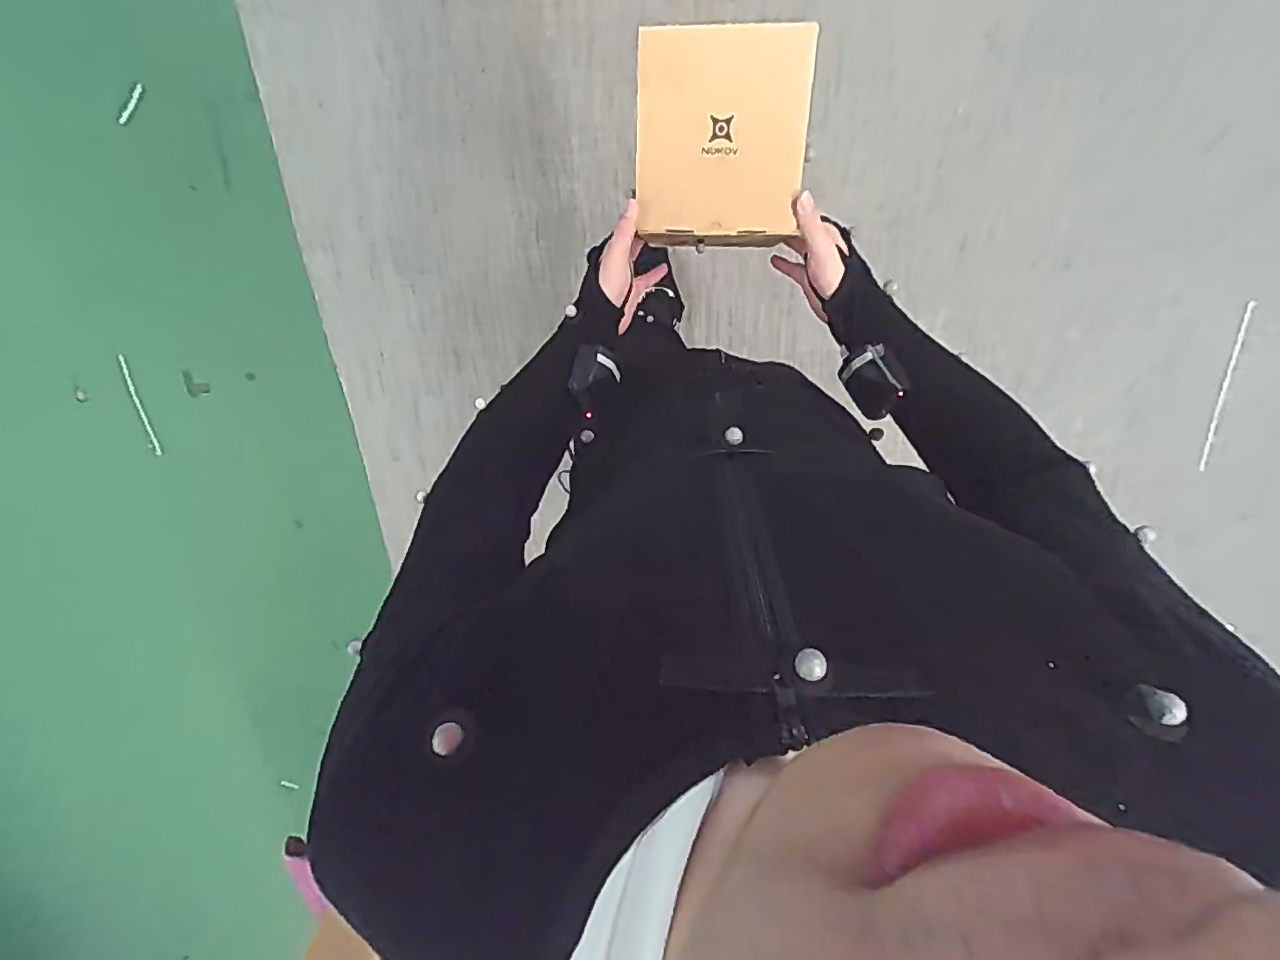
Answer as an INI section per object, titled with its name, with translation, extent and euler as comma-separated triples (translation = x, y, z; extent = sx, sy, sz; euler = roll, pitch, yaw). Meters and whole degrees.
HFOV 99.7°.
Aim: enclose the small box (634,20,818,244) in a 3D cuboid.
[small box]
translation = 0.083, -0.363, 0.595
extent = 0.168, 0.176, 0.179
euler = 3, 111, 4
